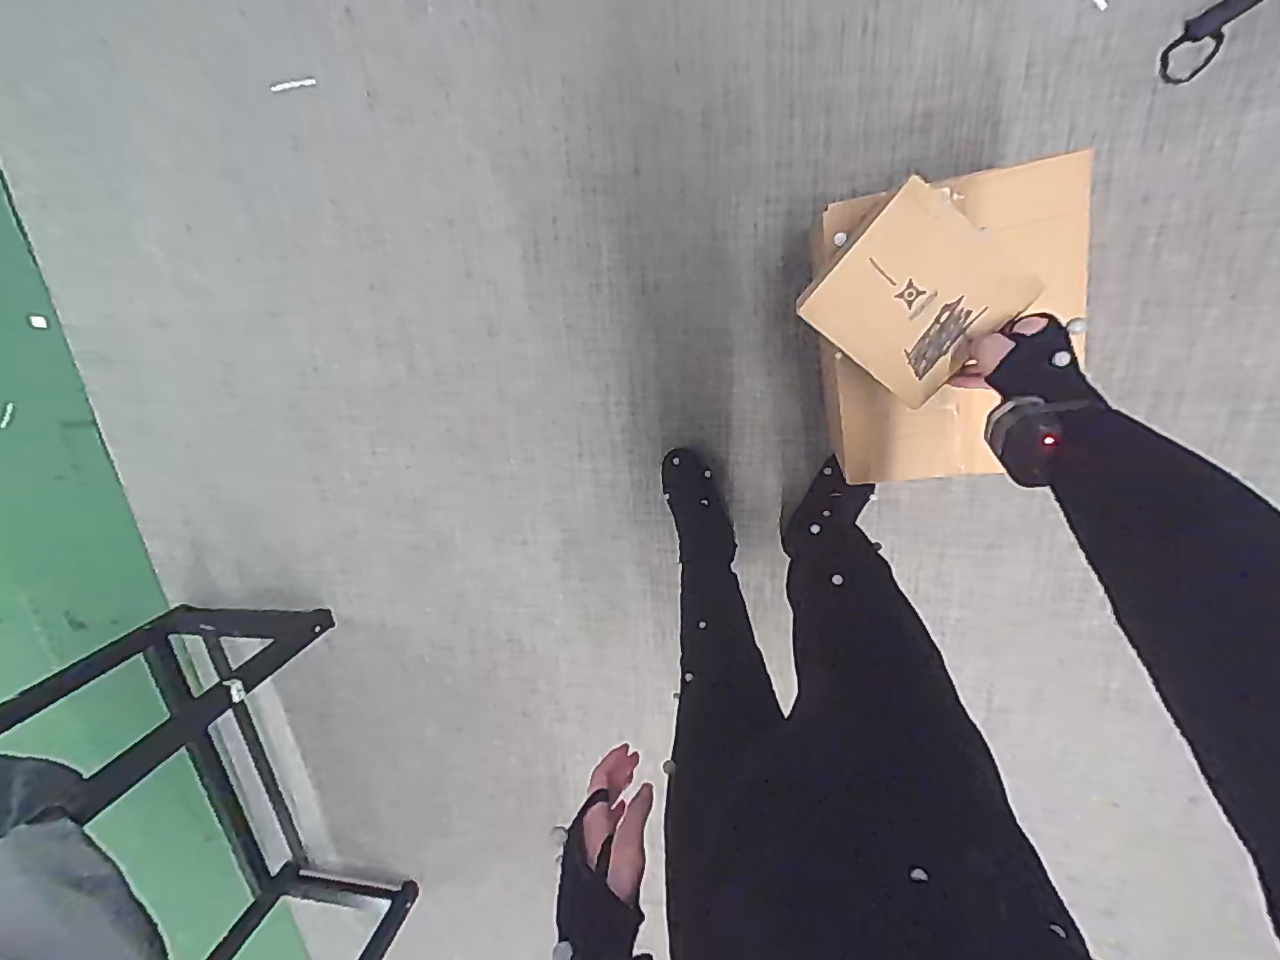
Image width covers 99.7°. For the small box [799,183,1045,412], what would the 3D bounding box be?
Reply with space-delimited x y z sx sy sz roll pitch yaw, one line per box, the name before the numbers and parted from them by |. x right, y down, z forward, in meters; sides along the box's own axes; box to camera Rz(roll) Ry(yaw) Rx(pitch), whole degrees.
small box | 0.310 -0.211 0.634 0.179 0.176 0.168 40 116 -1
